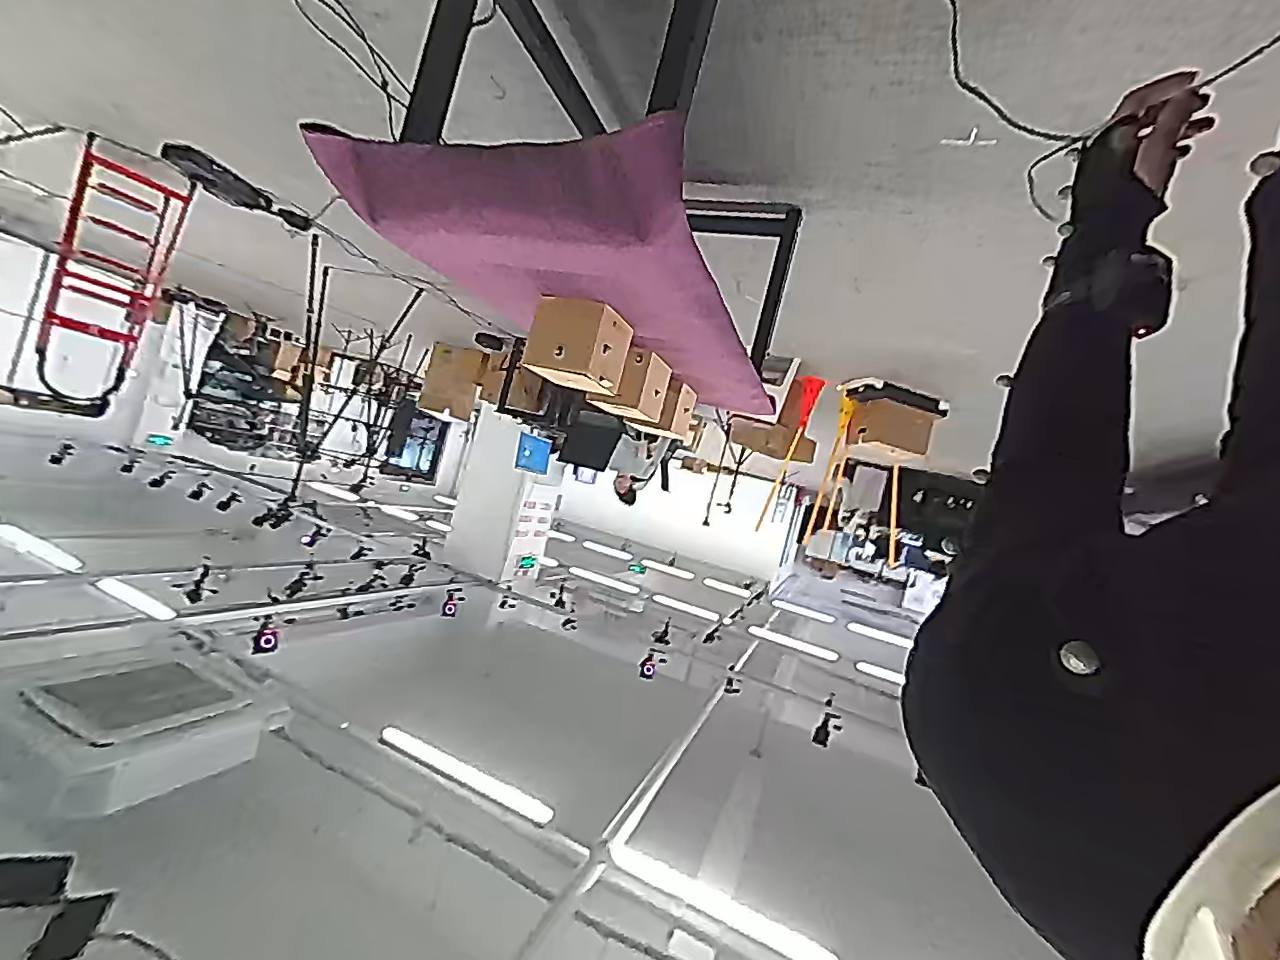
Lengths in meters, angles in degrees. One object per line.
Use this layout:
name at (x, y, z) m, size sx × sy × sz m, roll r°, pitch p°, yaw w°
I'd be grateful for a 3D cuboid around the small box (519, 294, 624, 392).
small box at (-0.149, -0.317, 1.253) m, size 0.179 × 0.176 × 0.168 m, roll 14°, pitch 179°, yaw 20°

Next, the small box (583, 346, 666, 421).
small box at (-0.039, -0.281, 1.551) m, size 0.168 × 0.176 × 0.179 m, roll 14°, pitch 180°, yaw 22°

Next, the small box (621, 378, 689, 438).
small box at (0.059, -0.250, 1.824) m, size 0.179 × 0.176 × 0.168 m, roll 13°, pitch 178°, yaw 22°
